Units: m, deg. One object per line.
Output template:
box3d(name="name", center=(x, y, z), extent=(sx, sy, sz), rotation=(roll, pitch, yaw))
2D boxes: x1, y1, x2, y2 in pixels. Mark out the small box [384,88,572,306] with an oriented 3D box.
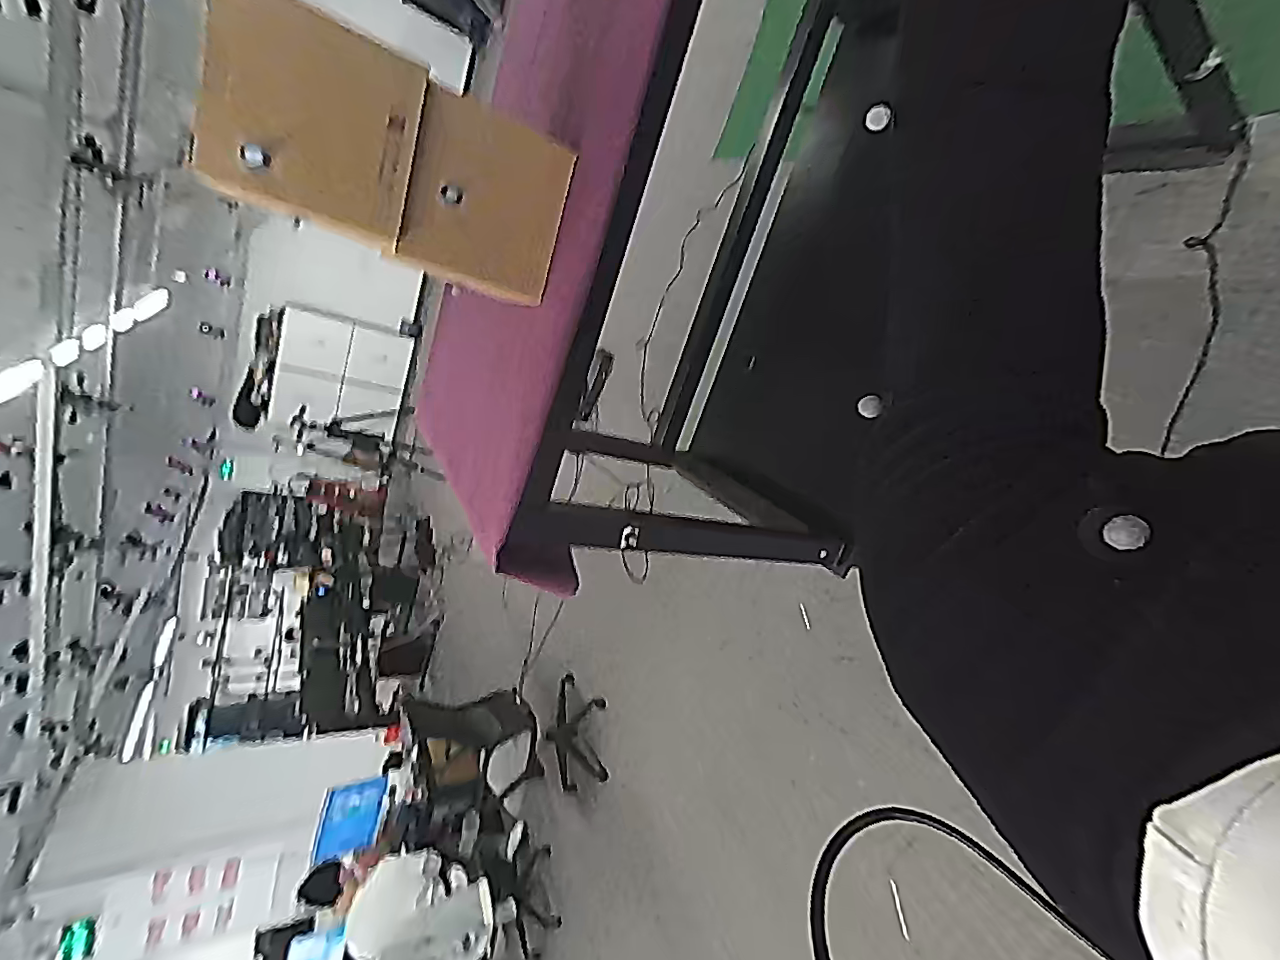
box3d(name="small box", center=(-0.200, -0.322, 0.659), extent=(0.168, 0.176, 0.179), rotation=(32, 109, 54))
